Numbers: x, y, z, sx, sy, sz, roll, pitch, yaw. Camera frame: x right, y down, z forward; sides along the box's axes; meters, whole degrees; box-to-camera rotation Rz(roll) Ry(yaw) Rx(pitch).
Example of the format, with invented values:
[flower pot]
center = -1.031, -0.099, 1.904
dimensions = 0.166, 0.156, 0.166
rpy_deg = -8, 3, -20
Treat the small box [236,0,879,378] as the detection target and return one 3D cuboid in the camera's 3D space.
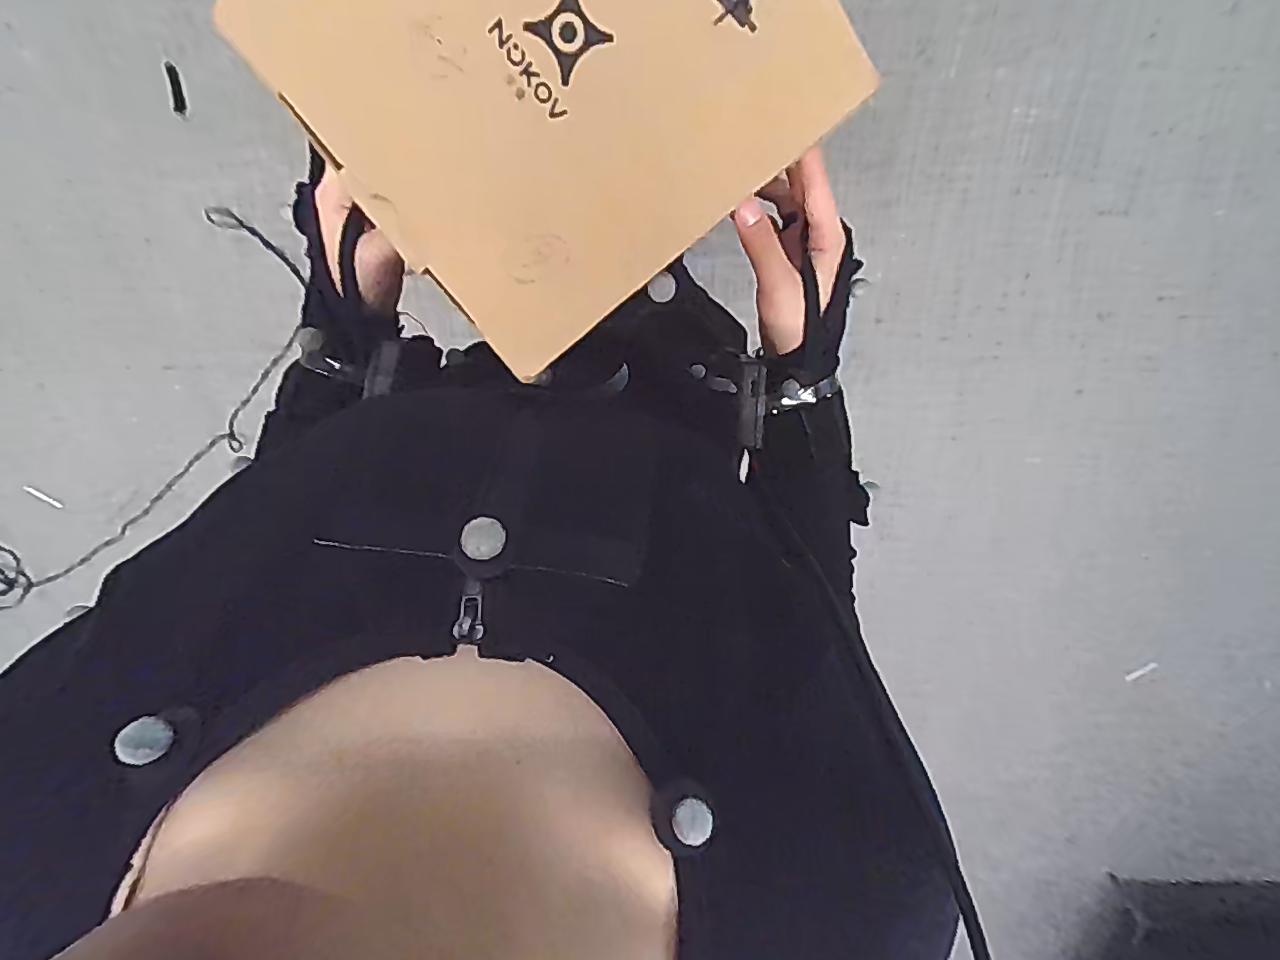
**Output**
[small box]
center = -0.026, -0.177, 0.267
dimensions = 0.179, 0.176, 0.168
rpy_deg = -35, 106, 14
